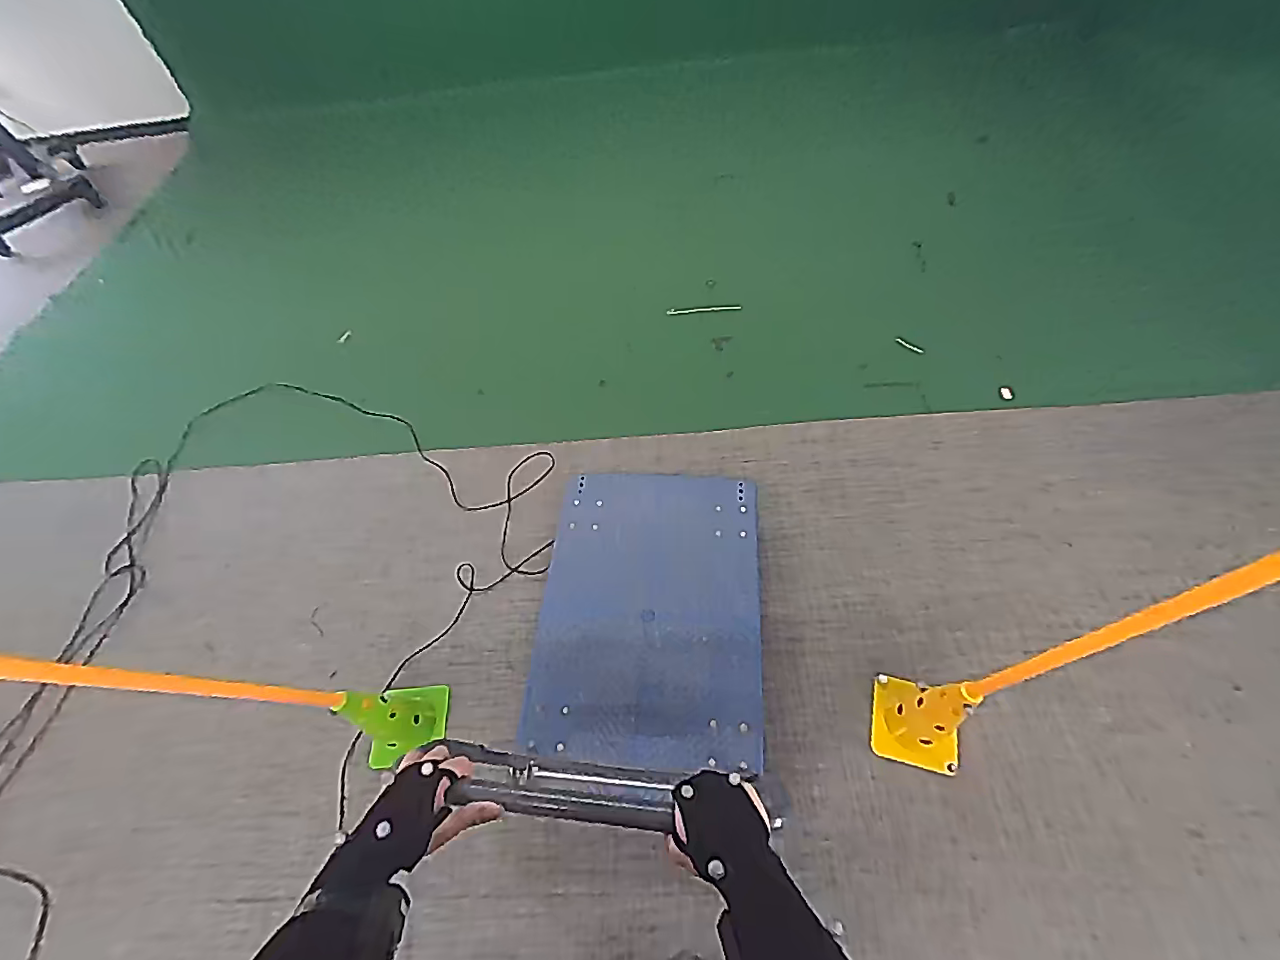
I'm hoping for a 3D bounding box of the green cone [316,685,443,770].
[{"bbox_3d":[-0.658,0.572,1.322,0.202,0.368,0.200,-8,56,3],"label":"green cone"}]
